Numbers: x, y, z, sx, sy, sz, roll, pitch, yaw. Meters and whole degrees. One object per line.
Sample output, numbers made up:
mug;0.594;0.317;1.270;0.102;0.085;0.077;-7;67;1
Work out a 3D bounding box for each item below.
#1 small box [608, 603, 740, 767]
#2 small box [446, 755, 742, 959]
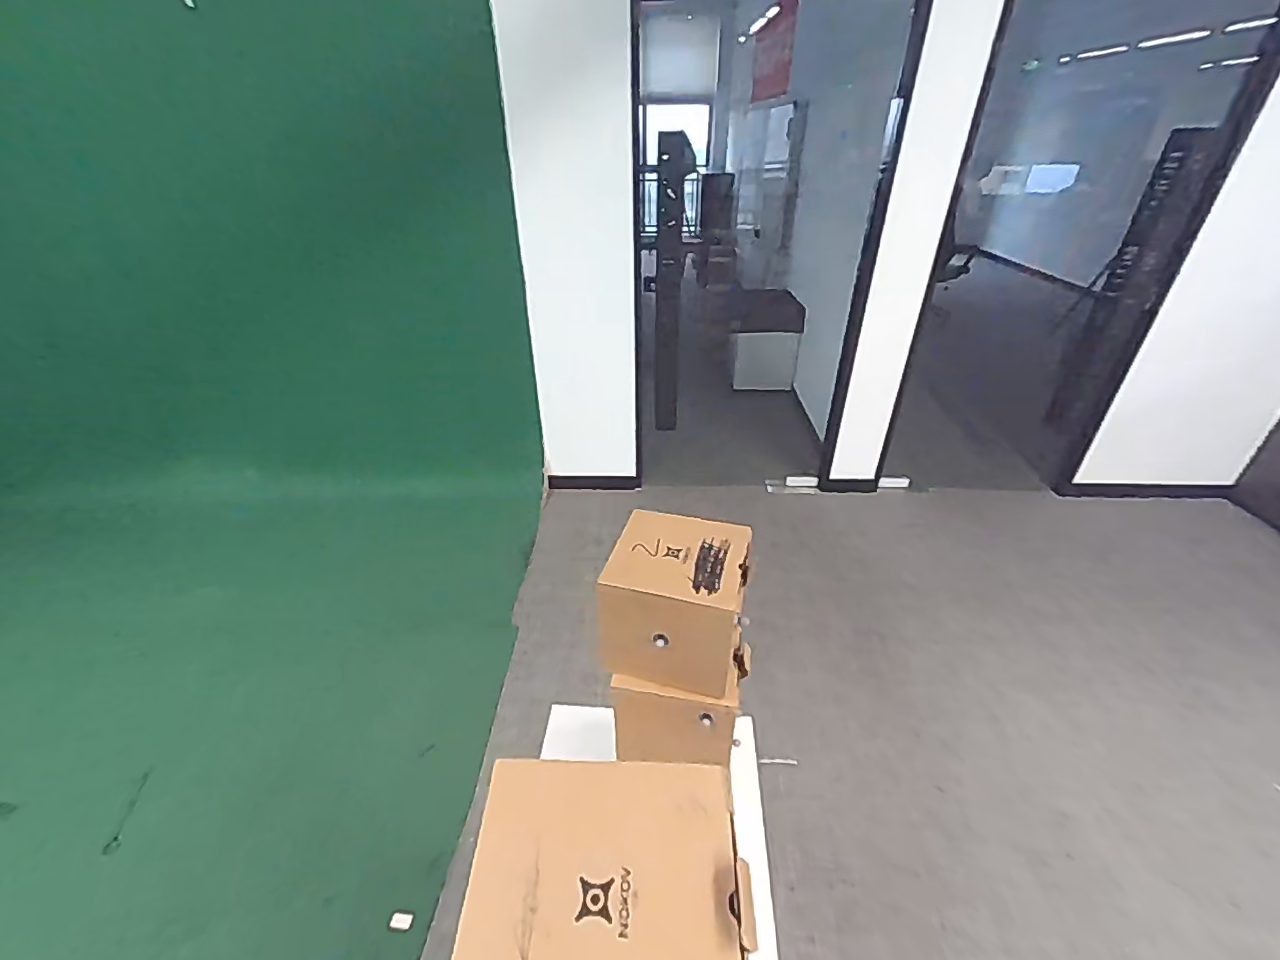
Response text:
small box;0.056;0.318;0.833;0.179;0.176;0.168;6;33;9
small box;-0.025;0.321;0.393;0.179;0.176;0.168;-1;40;3
